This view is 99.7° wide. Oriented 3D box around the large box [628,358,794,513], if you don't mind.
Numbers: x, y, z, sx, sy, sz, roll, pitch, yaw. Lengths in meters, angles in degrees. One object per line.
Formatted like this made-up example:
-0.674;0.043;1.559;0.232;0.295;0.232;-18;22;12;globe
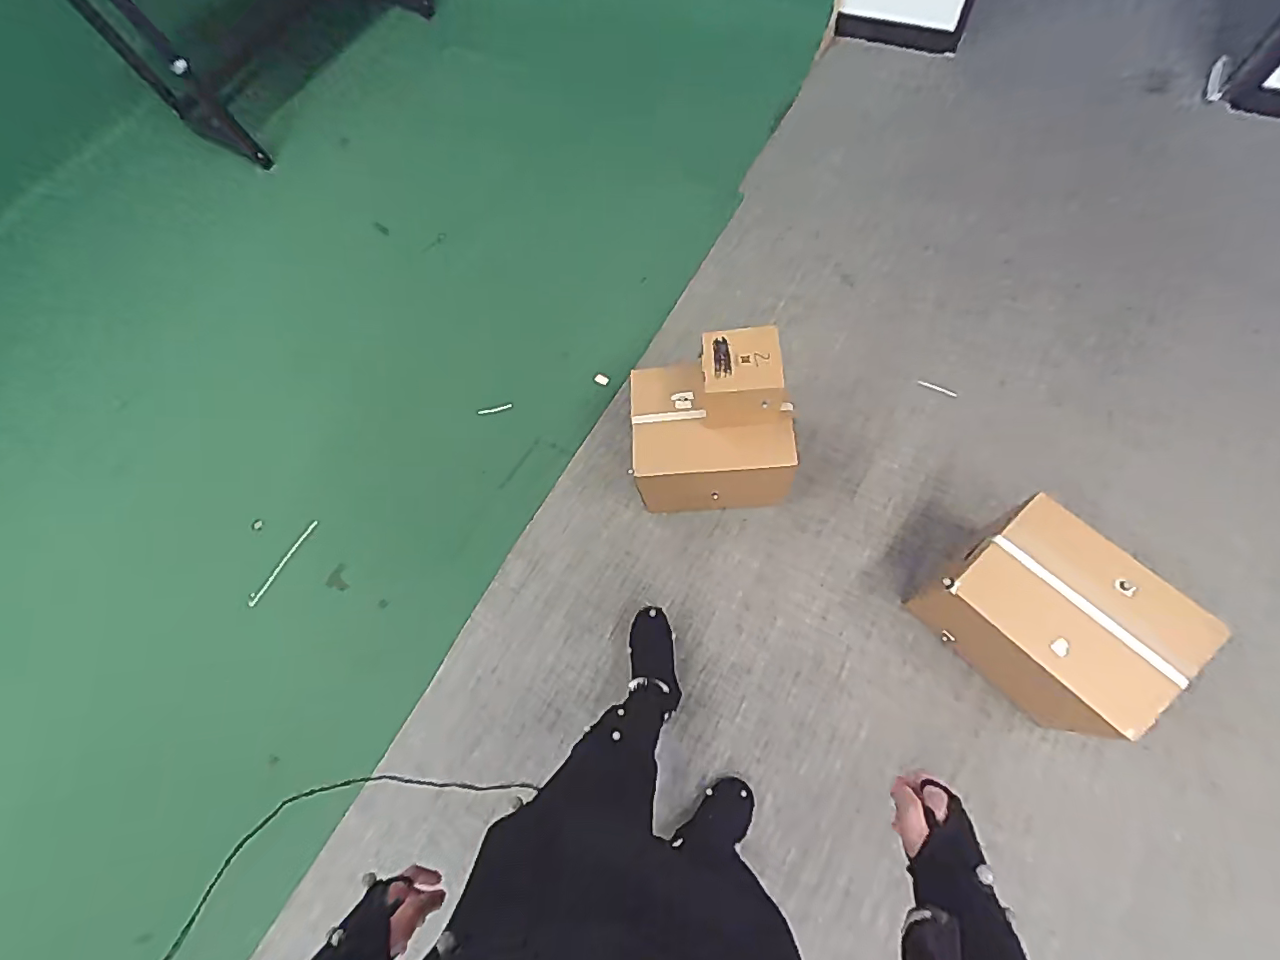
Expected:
0.193;-0.107;1.507;0.408;0.320;0.320;-4;68;7;large box
